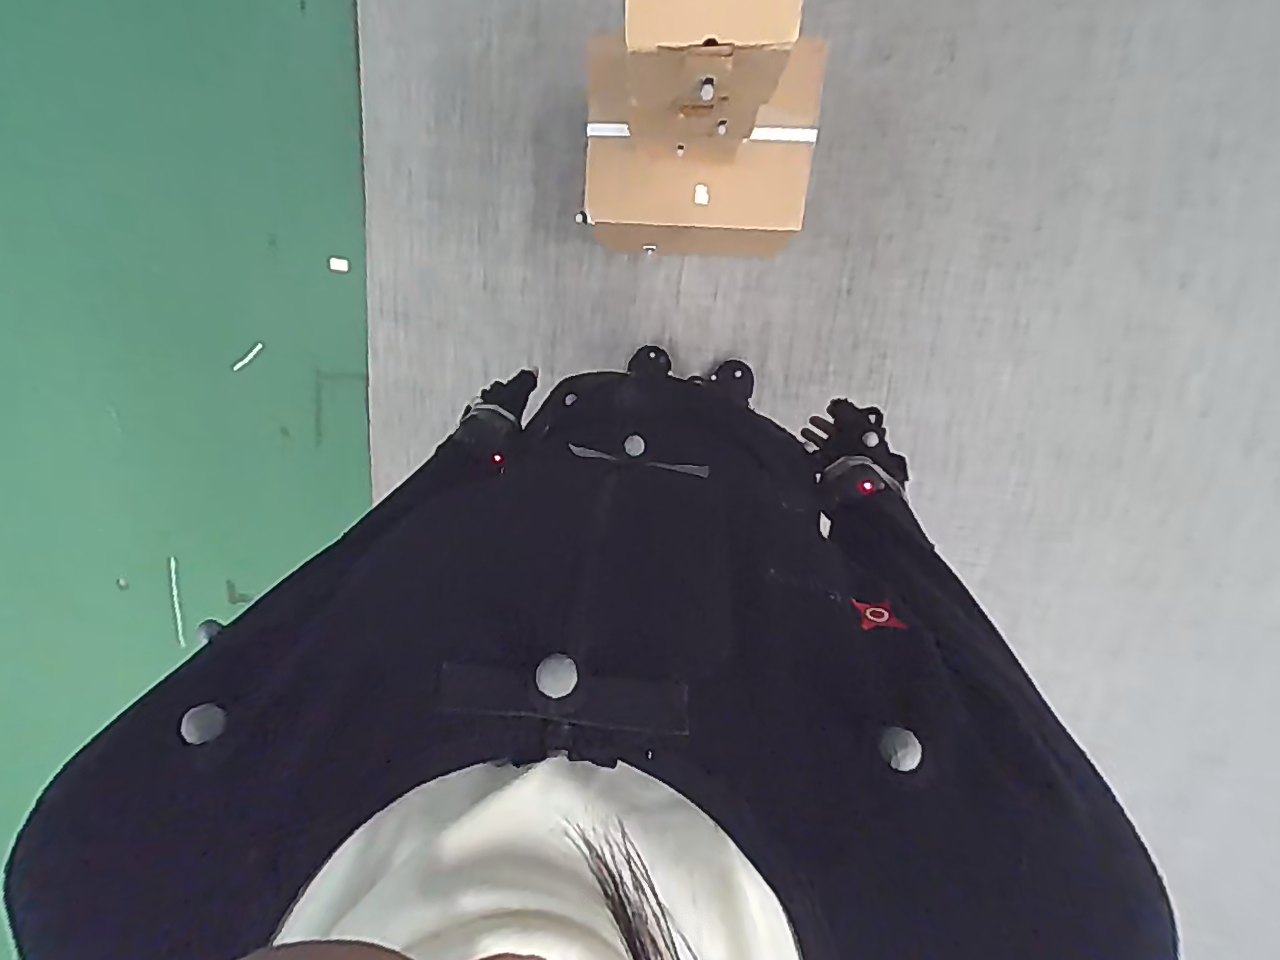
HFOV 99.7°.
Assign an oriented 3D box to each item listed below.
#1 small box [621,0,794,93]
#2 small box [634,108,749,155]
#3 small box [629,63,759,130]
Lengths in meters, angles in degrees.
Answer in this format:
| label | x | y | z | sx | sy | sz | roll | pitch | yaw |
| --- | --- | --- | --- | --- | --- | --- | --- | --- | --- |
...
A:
| label | x | y | z | sx | sy | sz | roll | pitch | yaw |
| --- | --- | --- | --- | --- | --- | --- | --- | --- | --- |
| small box | 0.074 | -0.525 | 0.562 | 0.168 | 0.176 | 0.179 | 3 | 111 | 5 |
| small box | 0.088 | -0.635 | 0.869 | 0.179 | 0.176 | 0.168 | 5 | 111 | 5 |
| small box | 0.078 | -0.581 | 0.716 | 0.168 | 0.176 | 0.179 | 2 | 110 | 5 |
